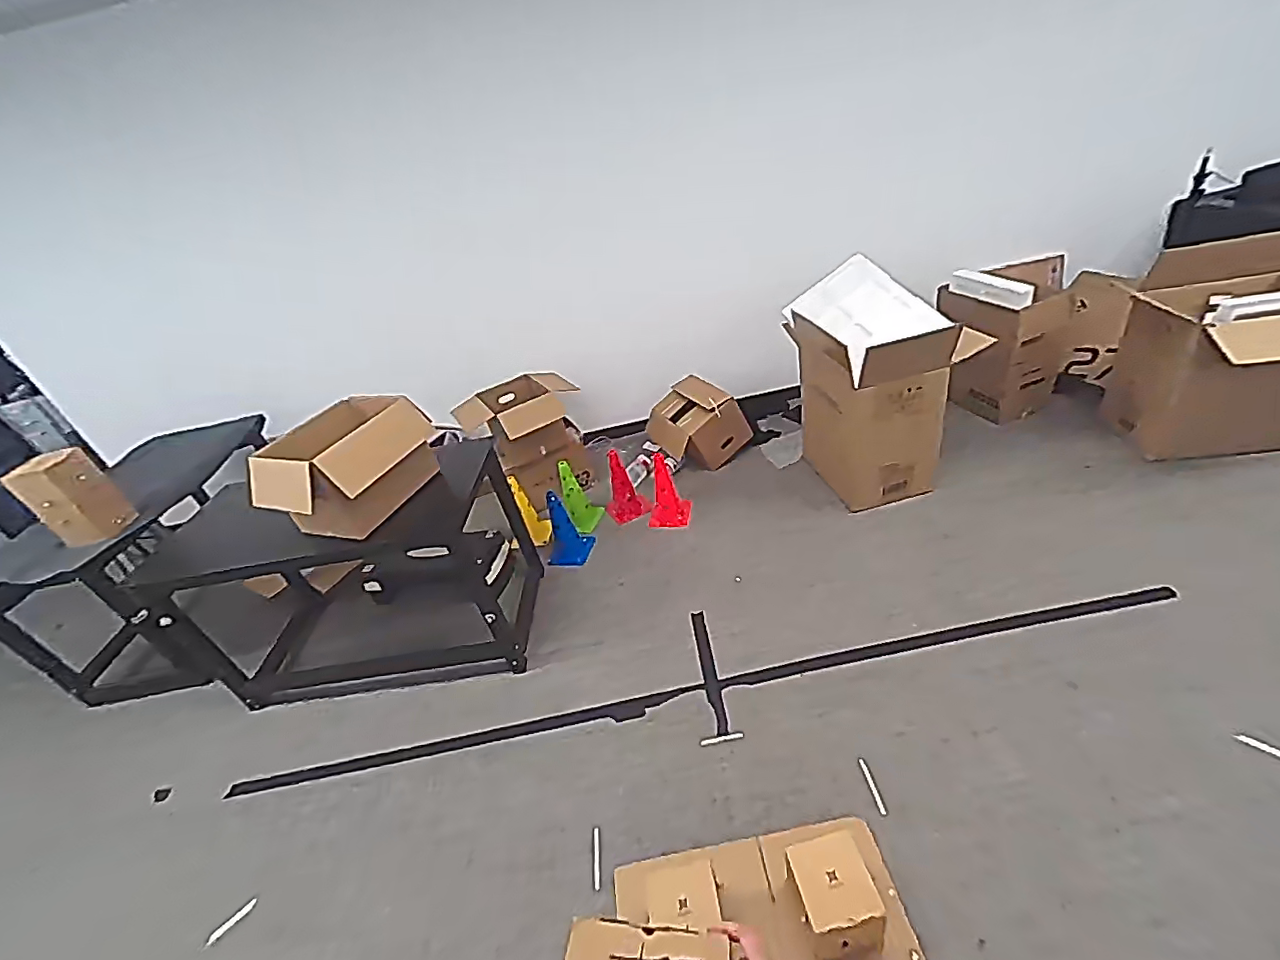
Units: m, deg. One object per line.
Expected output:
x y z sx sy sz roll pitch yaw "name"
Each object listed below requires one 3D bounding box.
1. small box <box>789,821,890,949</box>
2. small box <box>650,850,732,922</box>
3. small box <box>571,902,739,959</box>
0.462 0.954 1.275 0.168 0.176 0.179 -15 33 -2 "small box"
0.126 1.025 1.282 0.168 0.176 0.179 -14 34 1 "small box"
0.017 0.562 0.545 0.168 0.176 0.179 -2 41 12 "small box"
